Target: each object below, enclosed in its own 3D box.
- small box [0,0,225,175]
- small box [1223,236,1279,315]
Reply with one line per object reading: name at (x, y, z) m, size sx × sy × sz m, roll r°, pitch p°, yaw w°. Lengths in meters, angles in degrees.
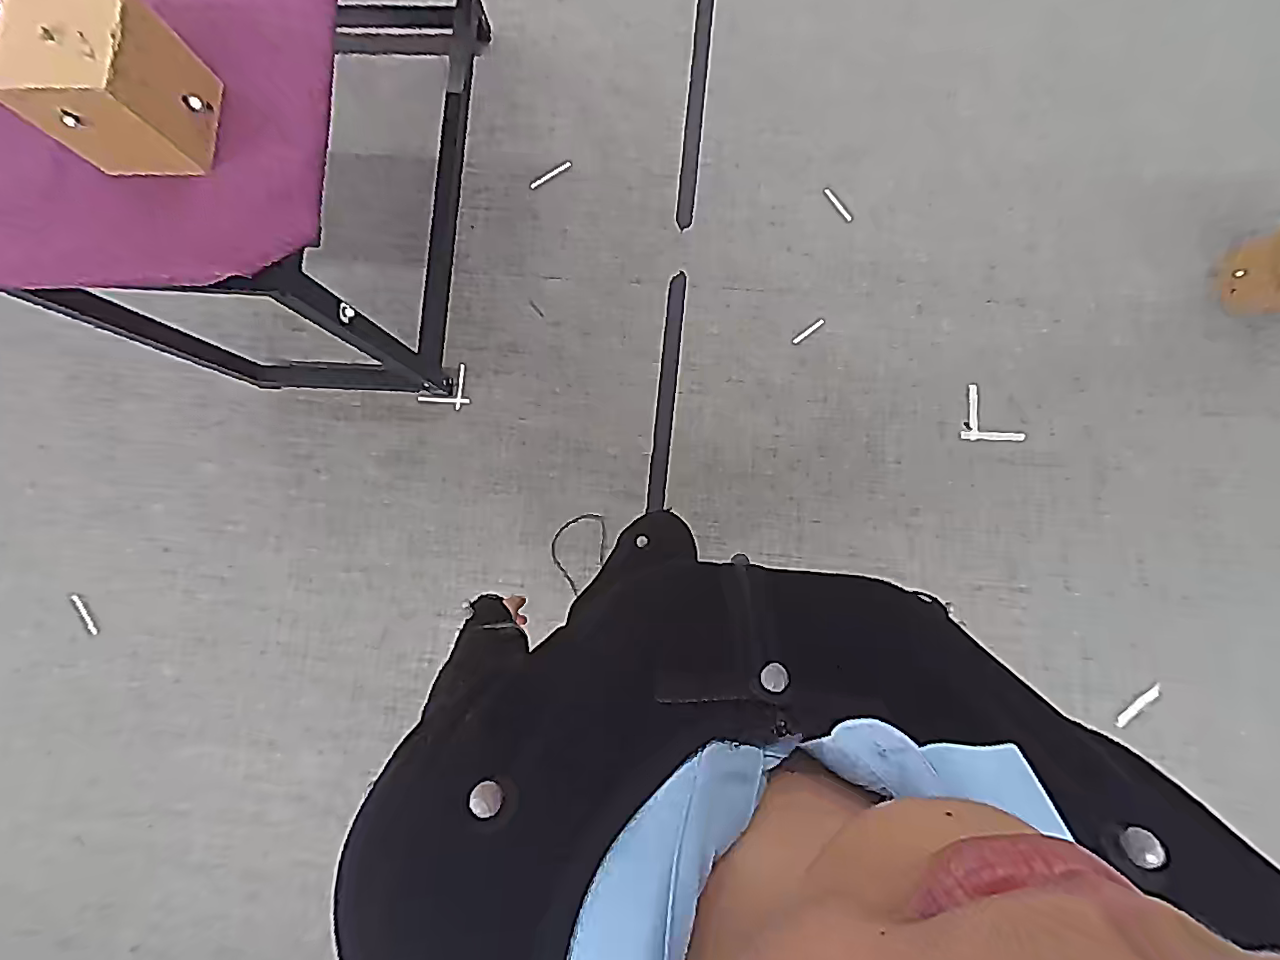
small box at (-0.769, -0.577, 0.796) m, size 0.179 × 0.176 × 0.168 m, roll 2°, pitch 83°, yaw 2°
small box at (1.725, -0.548, 1.432) m, size 0.179 × 0.176 × 0.168 m, roll -1°, pitch 84°, yaw 3°
